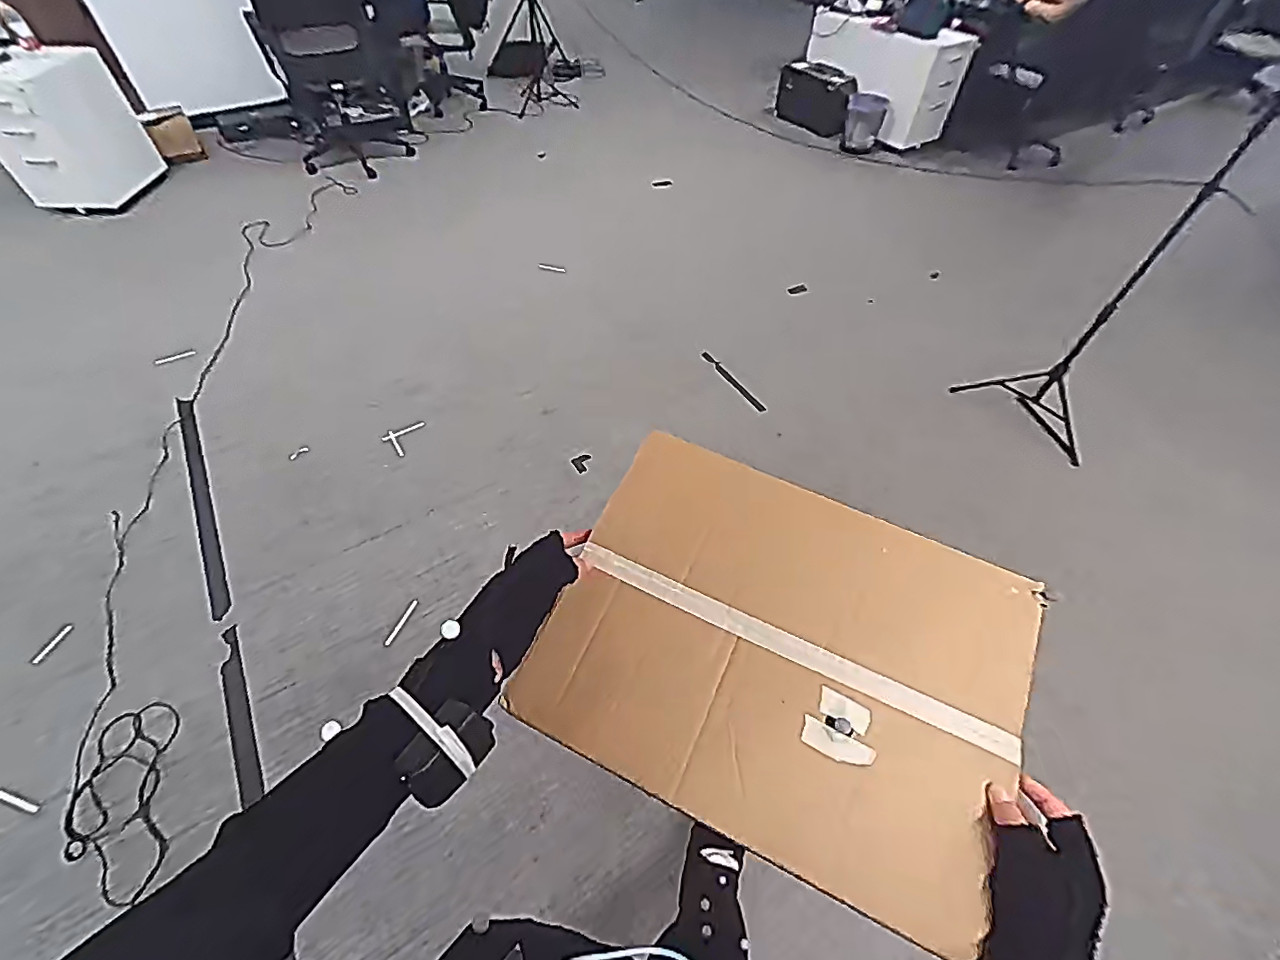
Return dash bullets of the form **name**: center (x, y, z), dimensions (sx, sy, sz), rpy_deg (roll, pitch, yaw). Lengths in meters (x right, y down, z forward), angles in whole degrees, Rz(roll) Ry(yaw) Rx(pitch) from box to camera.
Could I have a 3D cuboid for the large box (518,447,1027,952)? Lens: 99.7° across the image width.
- **large box**: center (0.131, 0.223, 0.631), dimensions (0.408, 0.320, 0.320), rpy_deg (23, 66, 12)
